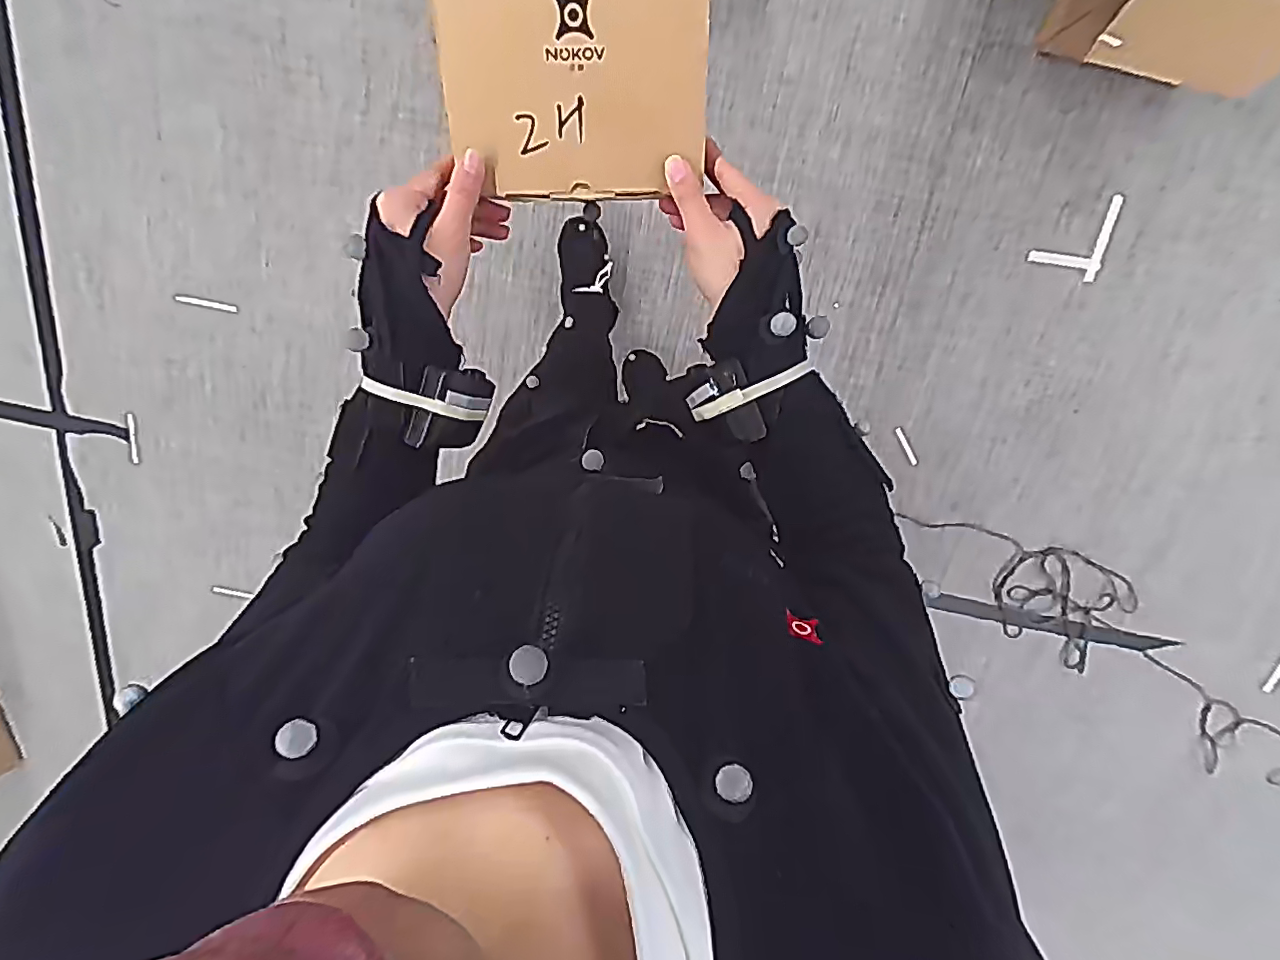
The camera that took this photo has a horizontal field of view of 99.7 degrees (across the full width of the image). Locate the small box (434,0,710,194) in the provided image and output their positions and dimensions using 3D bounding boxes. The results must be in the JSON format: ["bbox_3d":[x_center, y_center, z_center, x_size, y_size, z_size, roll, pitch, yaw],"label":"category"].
[{"bbox_3d":[-0.041,-0.311,0.394,0.168,0.176,0.179,-1,117,0],"label":"small box"}]
